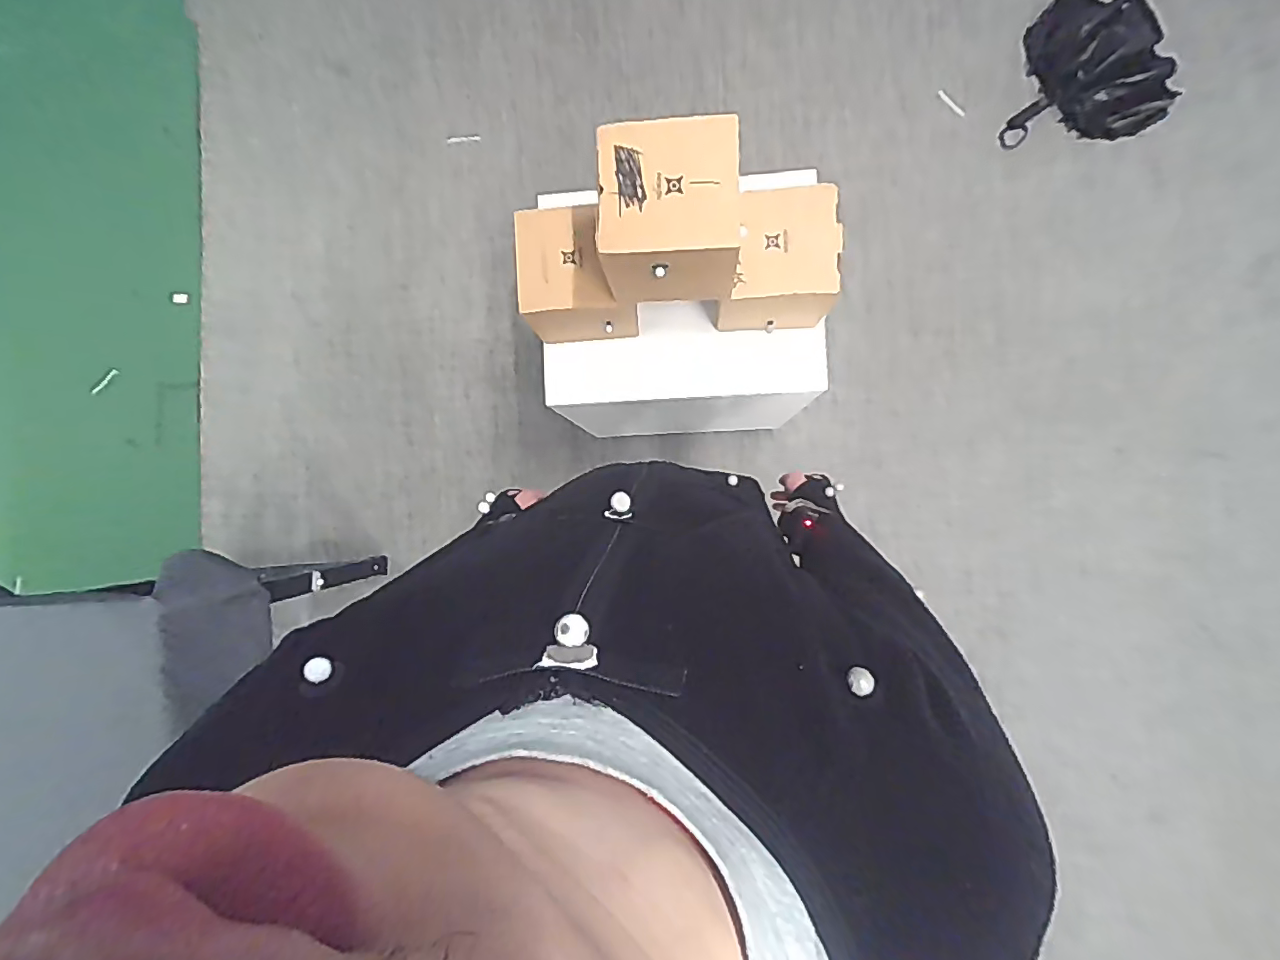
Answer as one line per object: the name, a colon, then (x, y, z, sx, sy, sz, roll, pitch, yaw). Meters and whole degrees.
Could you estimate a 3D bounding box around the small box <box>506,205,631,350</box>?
small box: (-0.107, -0.323, 0.890, 0.179, 0.176, 0.168, -5, 86, 3)

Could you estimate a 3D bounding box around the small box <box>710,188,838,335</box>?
small box: (0.205, -0.342, 0.875, 0.179, 0.176, 0.168, -3, 87, 4)

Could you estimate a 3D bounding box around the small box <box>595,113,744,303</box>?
small box: (0.040, -0.346, 0.719, 0.179, 0.176, 0.168, -2, 87, 3)
